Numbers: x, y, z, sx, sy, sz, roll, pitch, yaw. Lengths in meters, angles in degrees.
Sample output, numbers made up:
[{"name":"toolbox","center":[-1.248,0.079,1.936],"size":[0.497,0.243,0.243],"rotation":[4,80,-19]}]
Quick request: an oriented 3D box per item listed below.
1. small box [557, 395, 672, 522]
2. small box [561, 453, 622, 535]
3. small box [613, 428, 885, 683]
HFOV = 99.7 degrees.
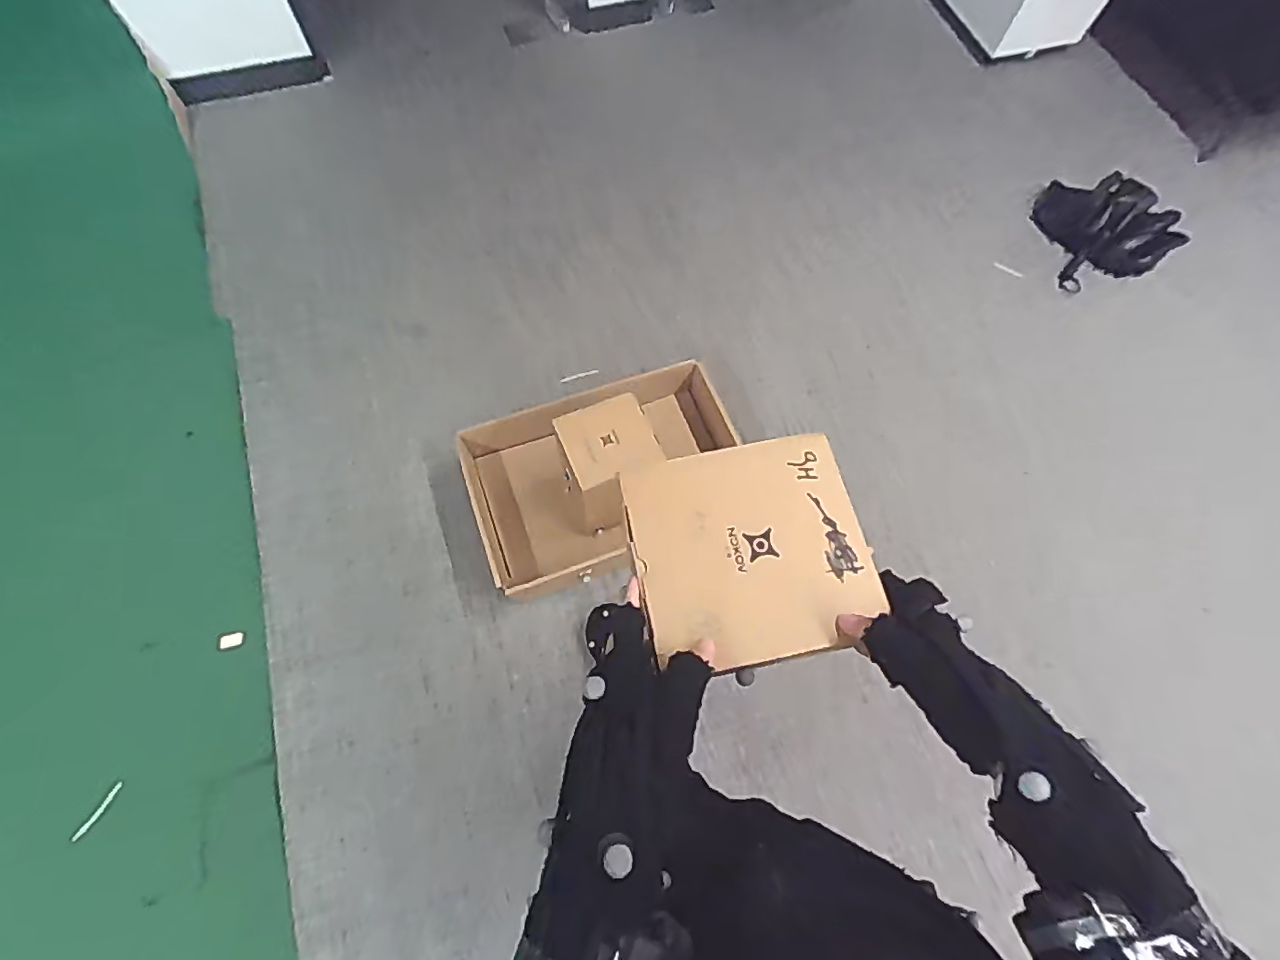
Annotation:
[{"name":"small box","center":[-0.055,-0.038,1.104],"size":[0.179,0.176,0.168],"rotation":[-25,71,-13]},{"name":"small box","center":[-0.075,0.017,1.273],"size":[0.168,0.176,0.179],"rotation":[-19,70,-10]},{"name":"small box","center":[0.082,0.079,0.495],"size":[0.179,0.176,0.168],"rotation":[-13,66,-5]}]
